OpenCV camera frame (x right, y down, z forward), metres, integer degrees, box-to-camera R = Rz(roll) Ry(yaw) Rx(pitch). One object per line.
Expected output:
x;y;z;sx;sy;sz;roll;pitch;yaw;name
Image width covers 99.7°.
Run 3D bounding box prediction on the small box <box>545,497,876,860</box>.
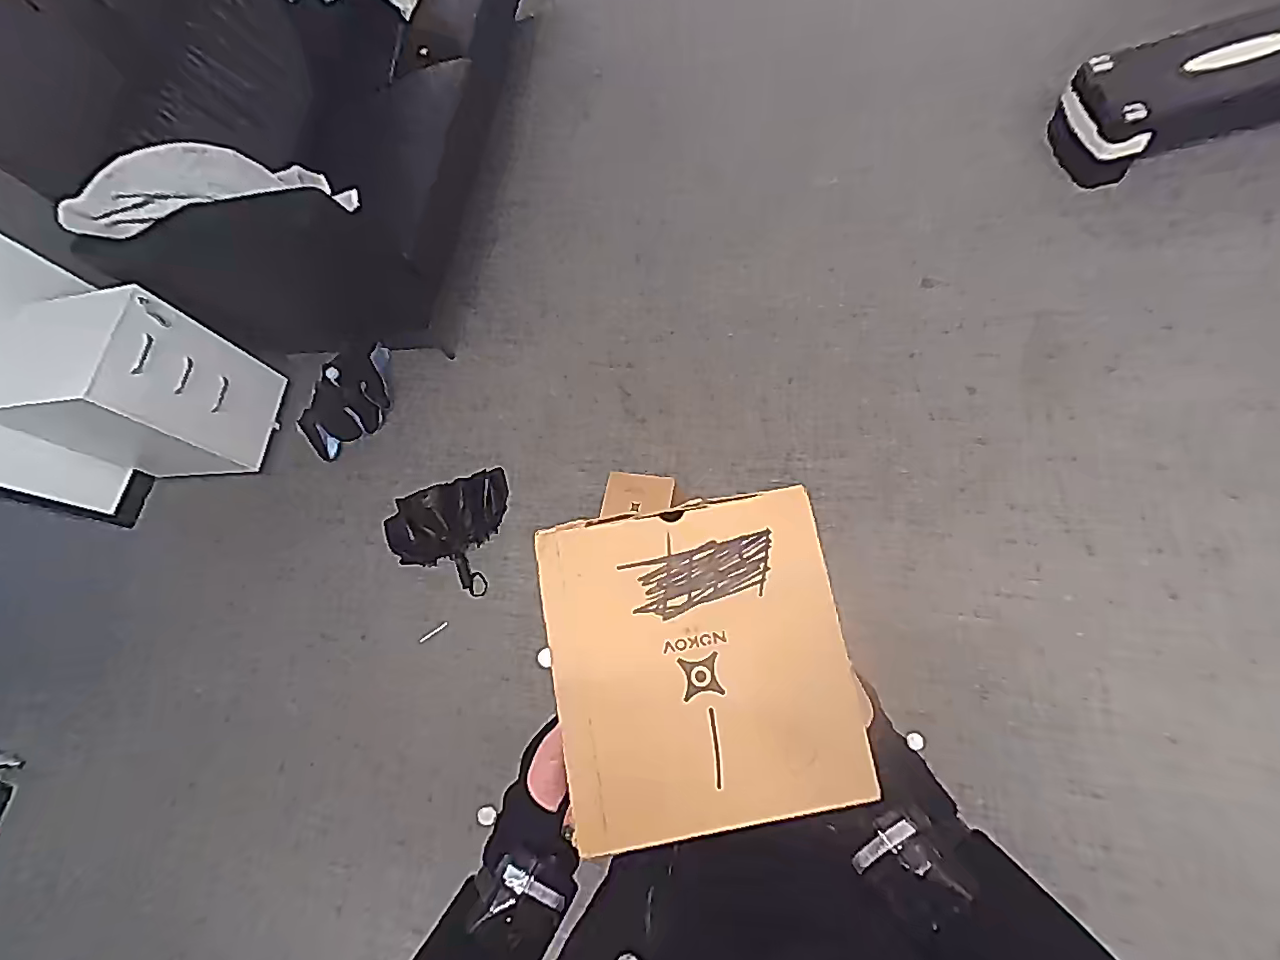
0.034;0.122;0.384;0.168;0.176;0.179;-9;79;-3;small box
